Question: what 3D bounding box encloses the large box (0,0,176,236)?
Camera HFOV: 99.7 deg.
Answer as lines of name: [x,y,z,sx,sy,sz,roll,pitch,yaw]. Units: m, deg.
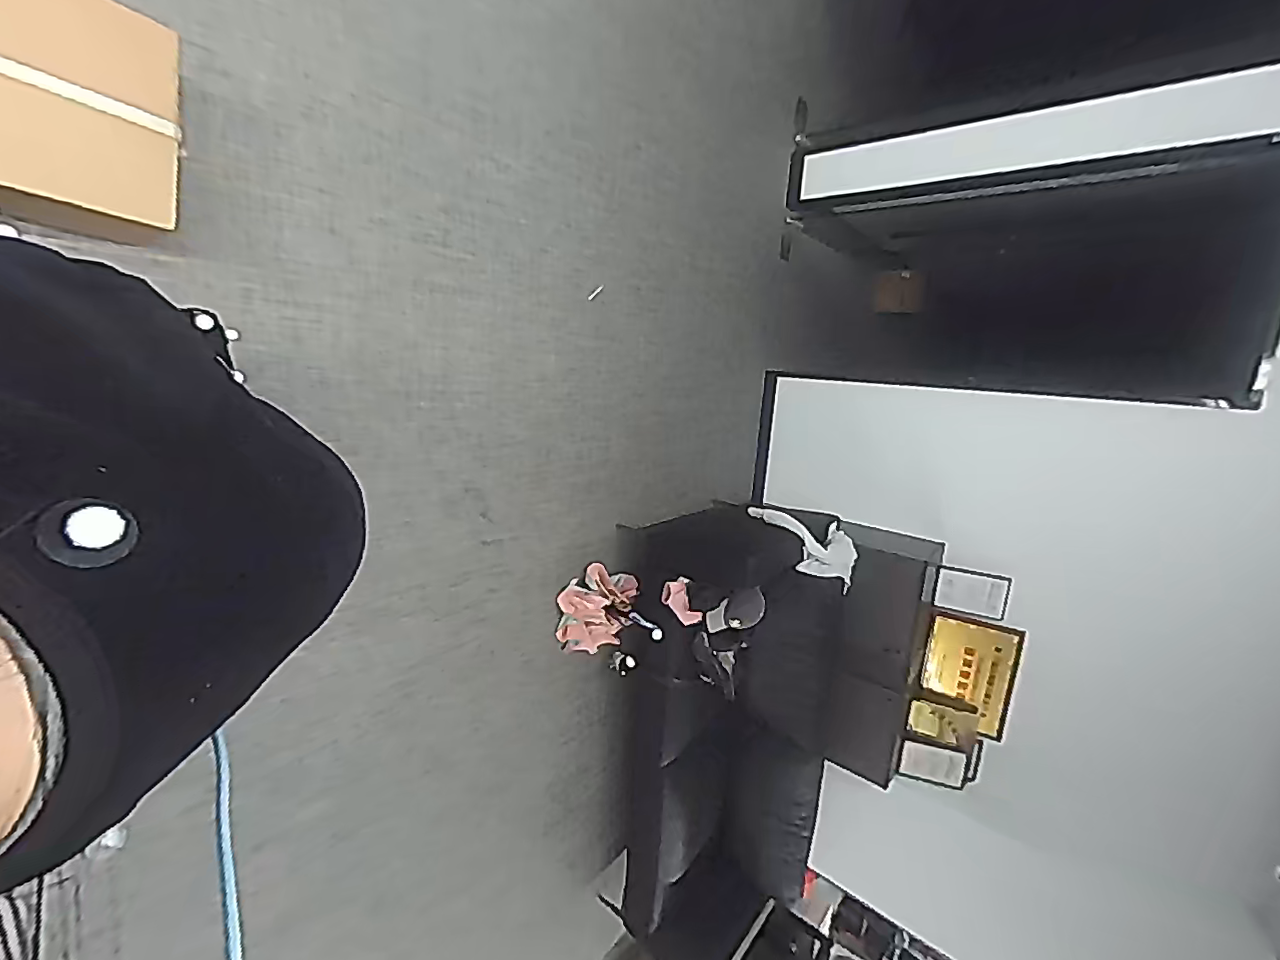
large box: [-1.013,-0.607,0.841,0.408,0.320,0.320,-1,101,-51]
